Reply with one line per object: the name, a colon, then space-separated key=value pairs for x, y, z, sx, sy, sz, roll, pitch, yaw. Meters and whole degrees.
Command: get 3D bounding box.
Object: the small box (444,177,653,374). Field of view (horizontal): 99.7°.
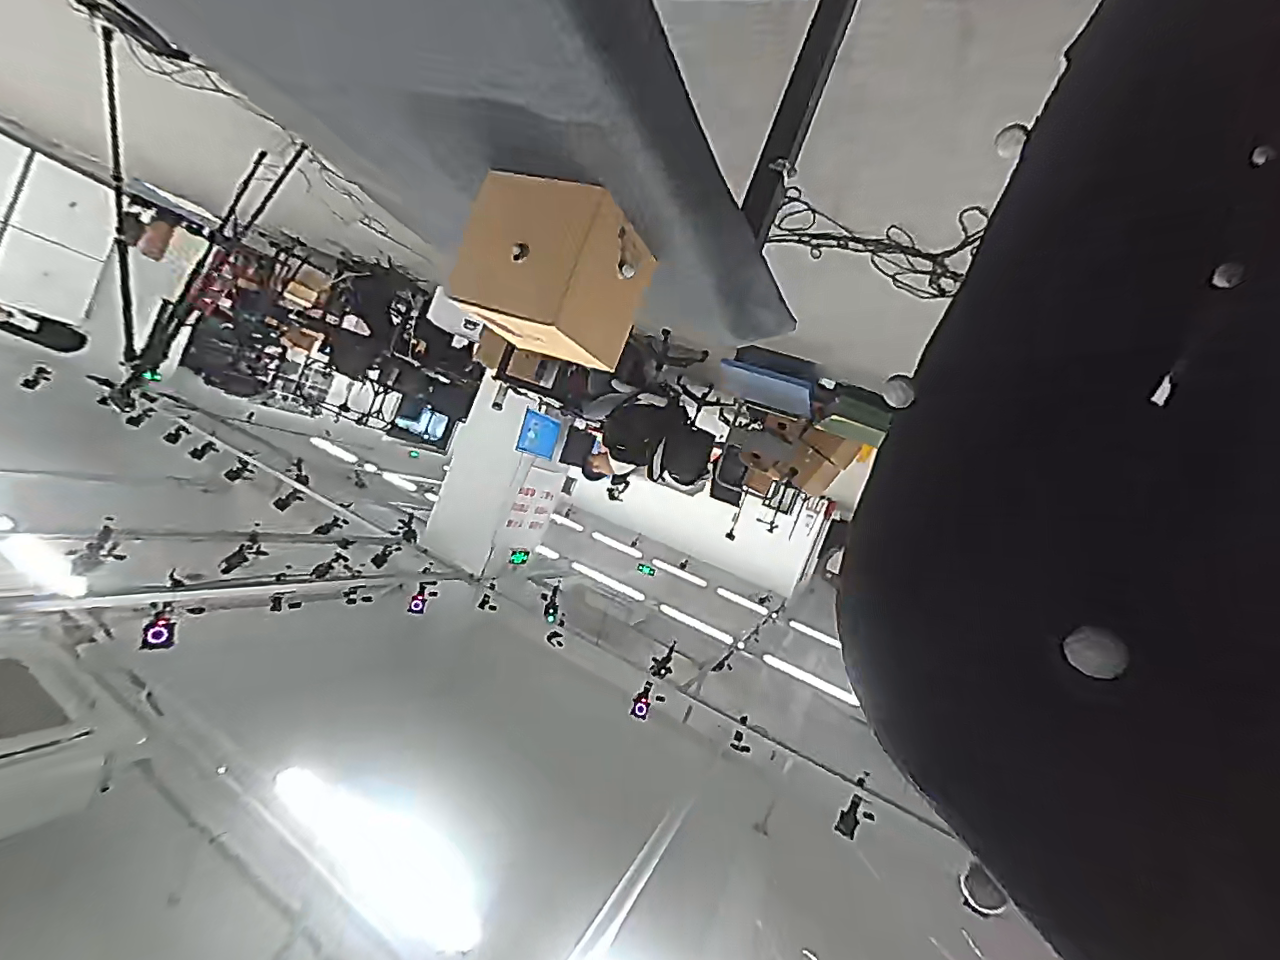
small box: x=-0.109 y=-0.260 z=0.698 sx=0.179 sy=0.176 sz=0.168 roll=21 pitch=-179 yaw=23
